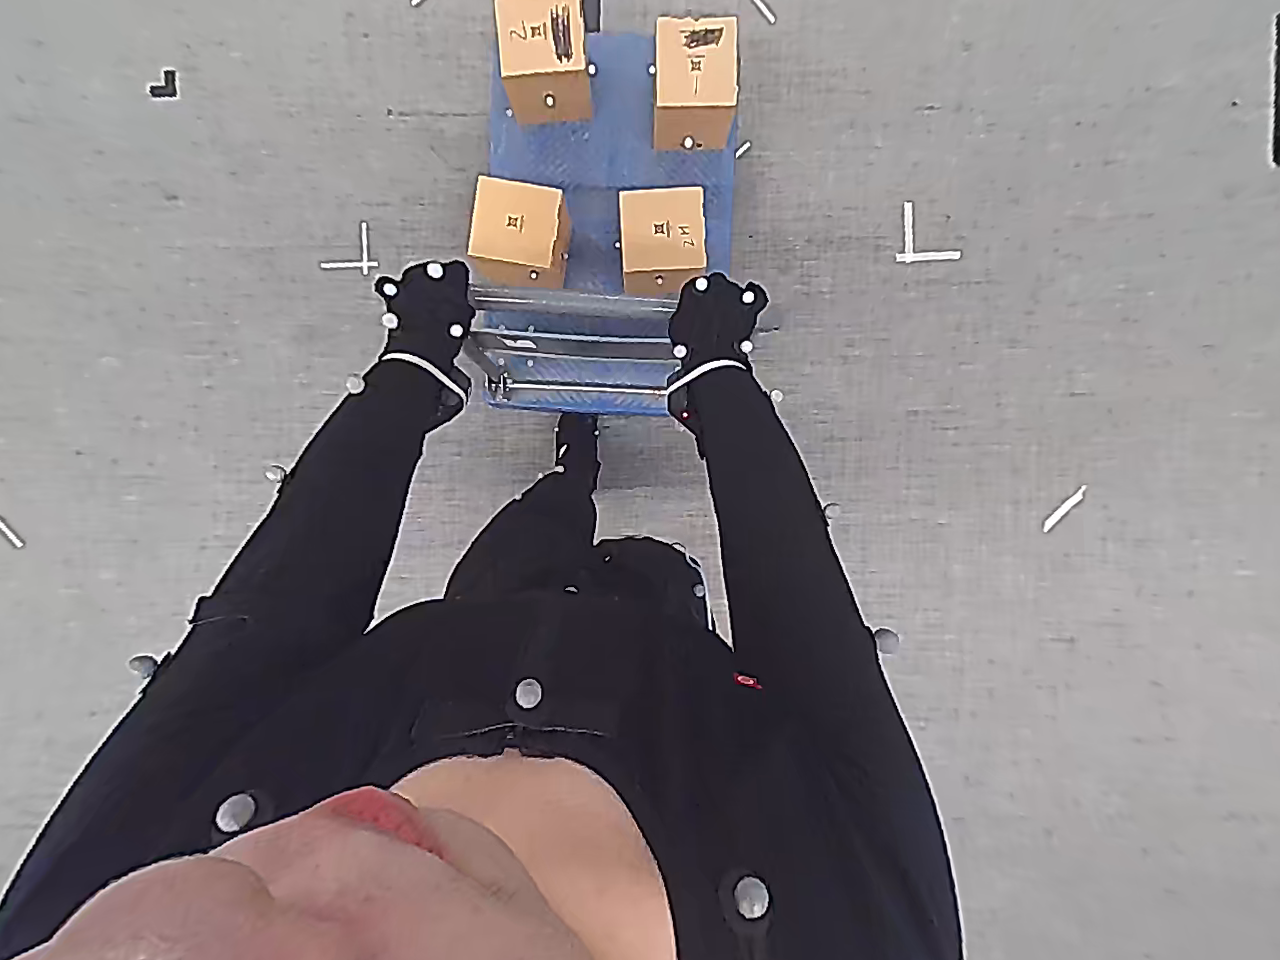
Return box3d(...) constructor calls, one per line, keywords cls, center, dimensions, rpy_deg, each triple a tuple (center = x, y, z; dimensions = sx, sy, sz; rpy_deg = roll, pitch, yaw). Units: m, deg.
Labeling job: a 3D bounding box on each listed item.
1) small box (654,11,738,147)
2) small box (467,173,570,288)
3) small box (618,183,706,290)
box3d(cls="small box", center=(0.114, -0.855, 1.165), dimensions=(0.168, 0.176, 0.179), rpy_deg=(0, 94, 0))
box3d(cls="small box", center=(-0.258, -0.536, 1.182), dimensions=(0.179, 0.176, 0.168), rpy_deg=(8, 92, -2))
box3d(cls="small box", center=(0.046, -0.523, 1.184), dimensions=(0.179, 0.176, 0.168), rpy_deg=(-3, 93, 0))
